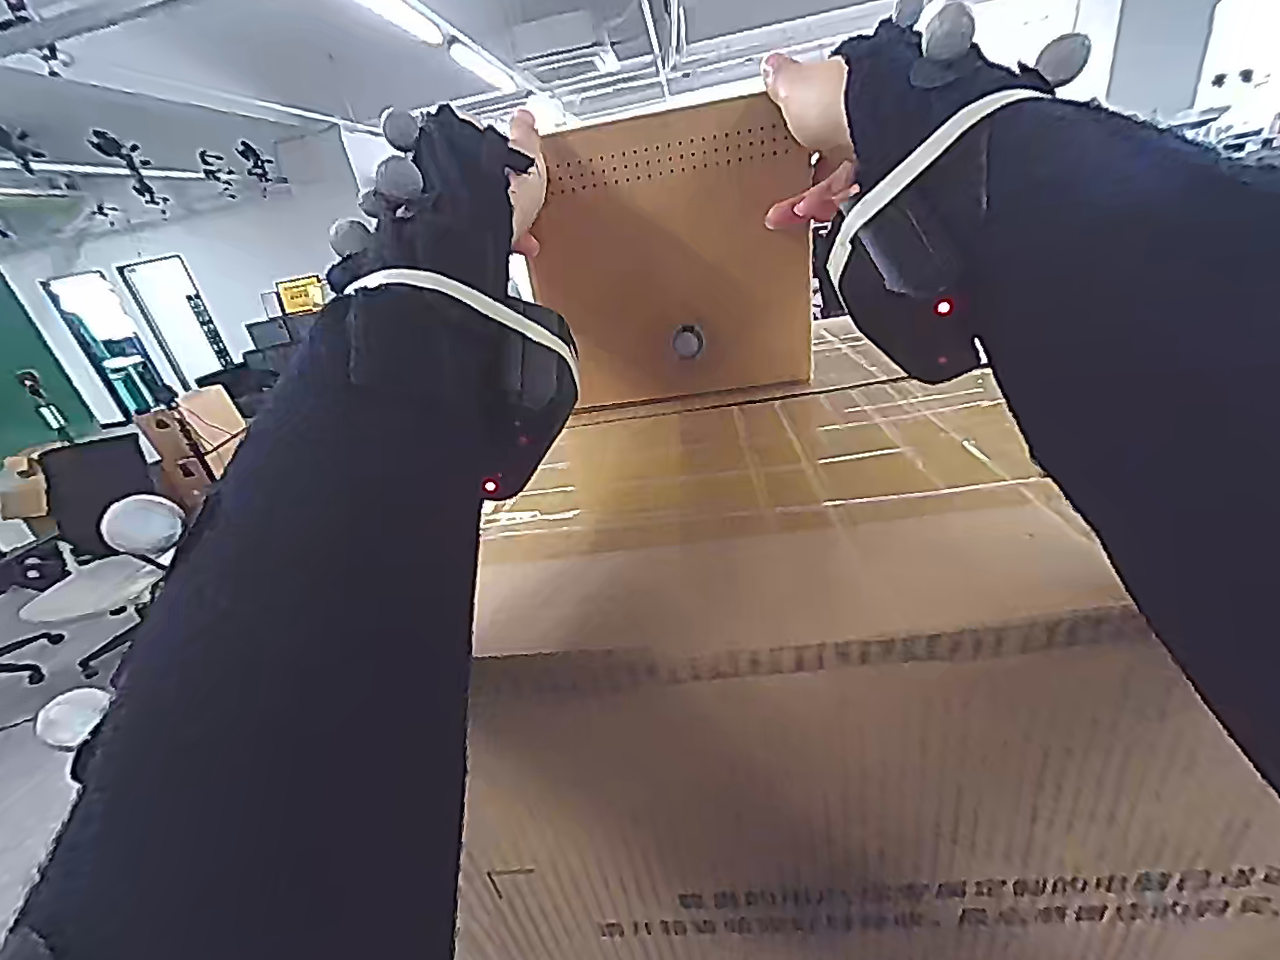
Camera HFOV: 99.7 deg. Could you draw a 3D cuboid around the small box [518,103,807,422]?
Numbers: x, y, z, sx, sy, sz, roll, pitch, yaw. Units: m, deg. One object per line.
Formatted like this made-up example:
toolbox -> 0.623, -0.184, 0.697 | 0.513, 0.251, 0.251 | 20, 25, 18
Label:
small box -> 0.019, -0.158, 0.408 | 0.179, 0.176, 0.168 | -7, 26, 8
